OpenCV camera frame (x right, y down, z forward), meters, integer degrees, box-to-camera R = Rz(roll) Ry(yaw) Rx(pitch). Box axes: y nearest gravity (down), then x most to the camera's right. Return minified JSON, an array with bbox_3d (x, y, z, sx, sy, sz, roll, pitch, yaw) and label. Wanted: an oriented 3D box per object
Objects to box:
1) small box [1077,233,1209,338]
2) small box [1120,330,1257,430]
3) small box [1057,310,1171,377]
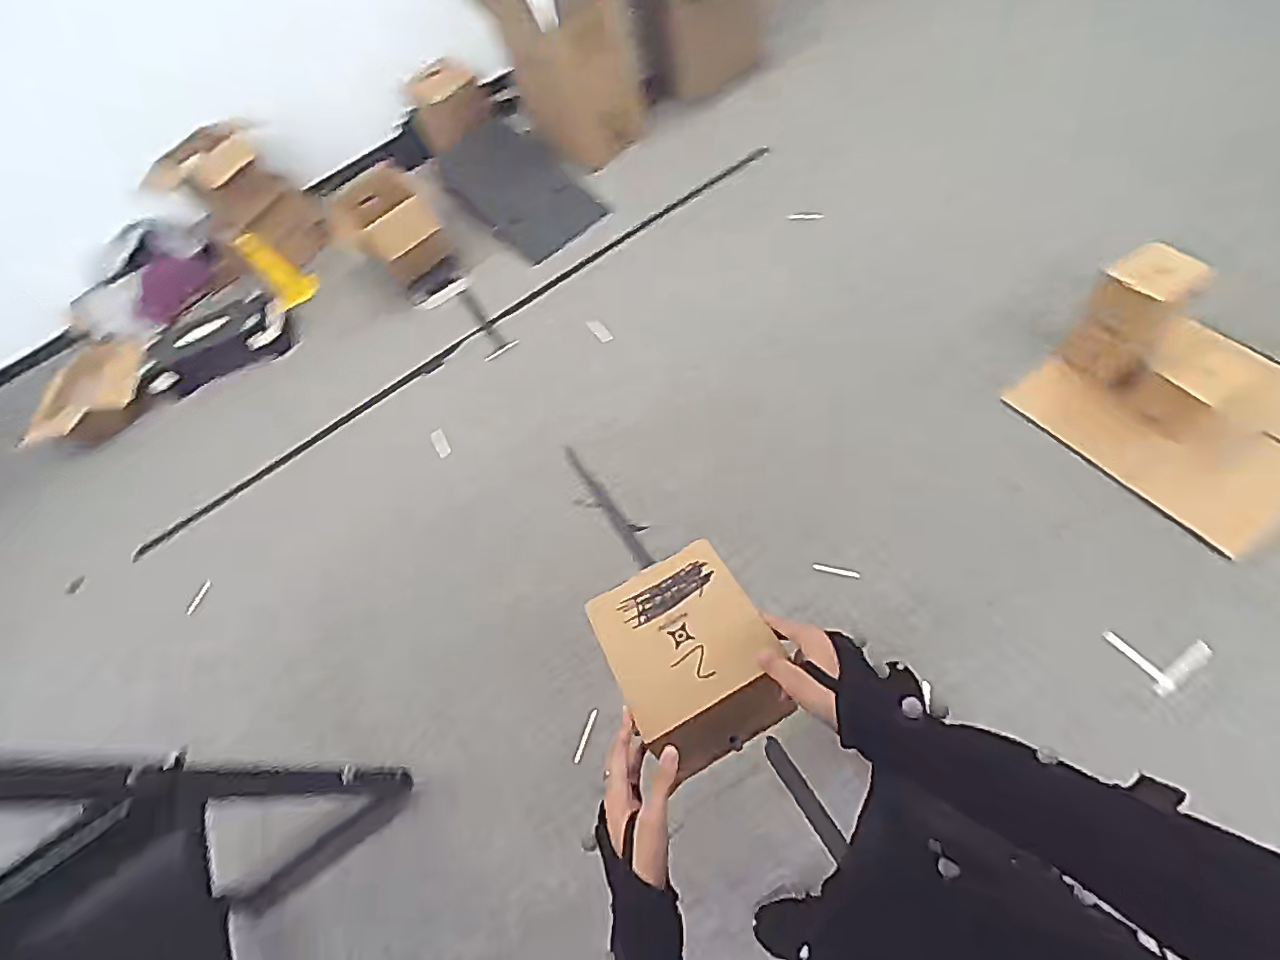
[{"bbox_3d":[1.363,-0.529,1.483,0.179,0.176,0.168,-32,58,-3],"label":"small box"},{"bbox_3d":[1.503,-0.273,1.498,0.179,0.176,0.168,-32,59,-3],"label":"small box"},{"bbox_3d":[1.401,-0.441,1.618,0.179,0.176,0.168,-33,58,-3],"label":"small box"}]
